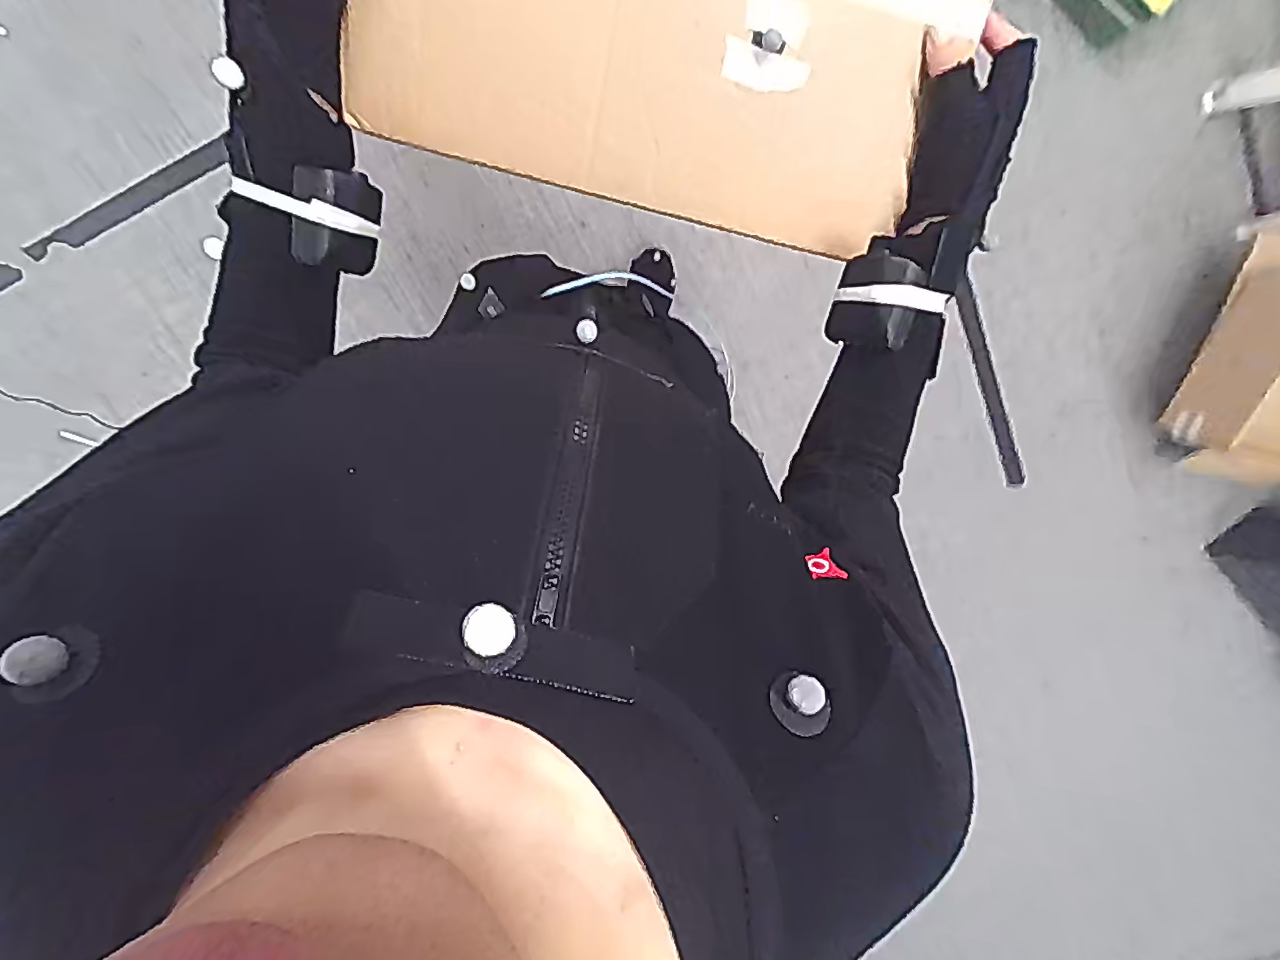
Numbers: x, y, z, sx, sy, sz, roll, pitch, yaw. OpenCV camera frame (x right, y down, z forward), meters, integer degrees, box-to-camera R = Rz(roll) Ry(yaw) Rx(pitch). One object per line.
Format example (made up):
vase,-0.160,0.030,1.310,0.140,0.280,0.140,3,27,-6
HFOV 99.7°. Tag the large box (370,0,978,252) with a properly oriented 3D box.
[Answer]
large box,0.024,-0.420,0.474,0.408,0.320,0.320,10,119,-10
